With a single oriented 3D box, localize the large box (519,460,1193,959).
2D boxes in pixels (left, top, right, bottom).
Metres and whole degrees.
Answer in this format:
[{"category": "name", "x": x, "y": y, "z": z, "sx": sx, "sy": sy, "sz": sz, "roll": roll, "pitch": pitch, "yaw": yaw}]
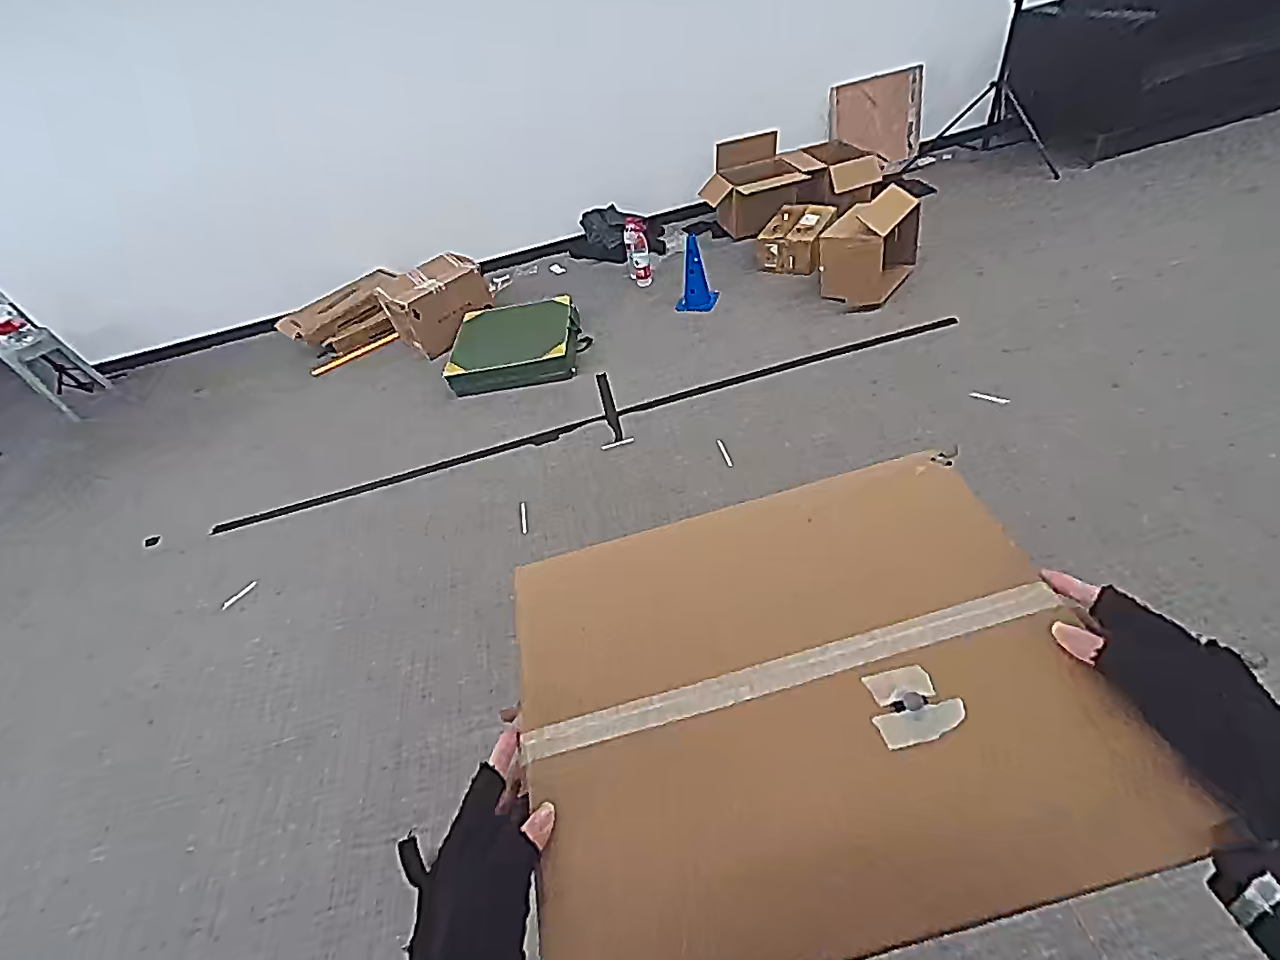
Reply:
[{"category": "large box", "x": 0.133, "y": 0.239, "z": 0.526, "sx": 0.408, "sy": 0.320, "sz": 0.320, "roll": -16, "pitch": 50, "yaw": -1}]
